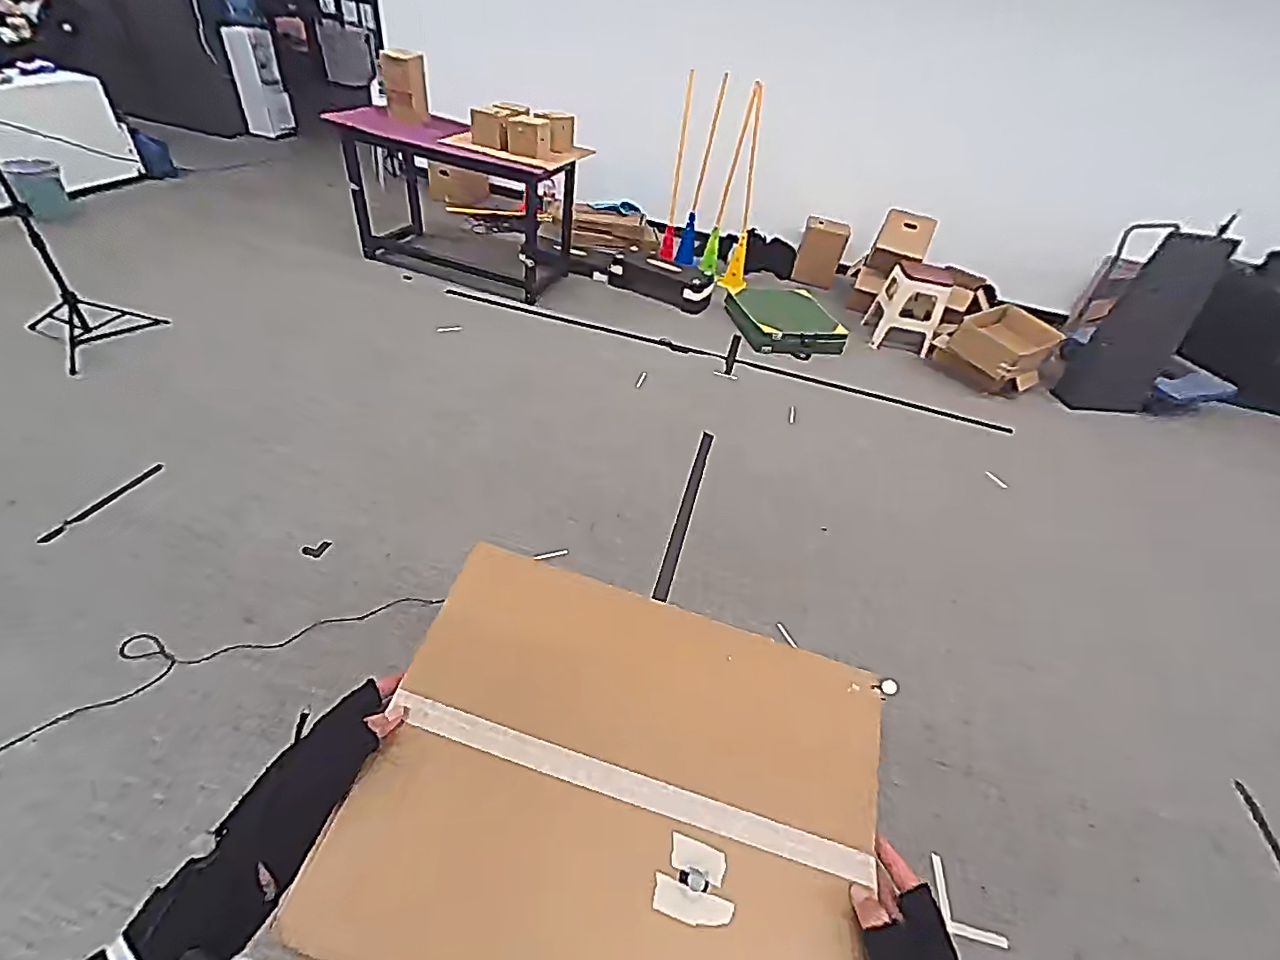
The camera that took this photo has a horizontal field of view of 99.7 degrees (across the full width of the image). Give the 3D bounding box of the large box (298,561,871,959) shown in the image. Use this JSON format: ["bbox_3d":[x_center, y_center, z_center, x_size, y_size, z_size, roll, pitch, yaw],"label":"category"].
[{"bbox_3d":[-0.029,0.335,0.565,0.408,0.320,0.320,18,56,3],"label":"large box"}]
